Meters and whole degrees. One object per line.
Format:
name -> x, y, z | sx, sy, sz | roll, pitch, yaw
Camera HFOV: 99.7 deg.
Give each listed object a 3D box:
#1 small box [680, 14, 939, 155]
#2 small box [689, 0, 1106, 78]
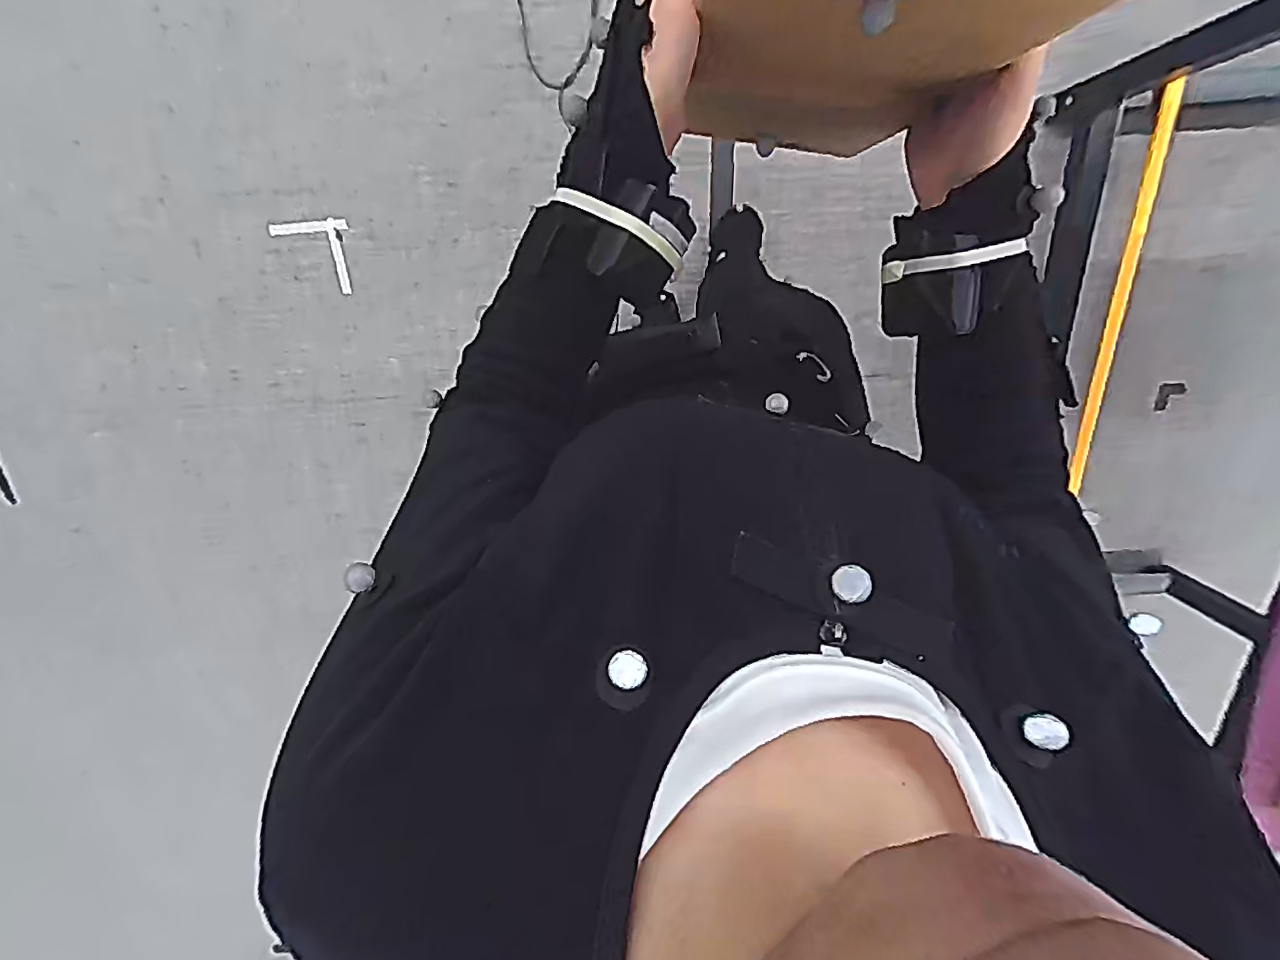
small box -> 0.122, -0.360, 0.392 | 0.168, 0.176, 0.179 | 8, 113, 0
small box -> 0.121, -0.304, 0.239 | 0.179, 0.176, 0.168 | 8, 113, 0
